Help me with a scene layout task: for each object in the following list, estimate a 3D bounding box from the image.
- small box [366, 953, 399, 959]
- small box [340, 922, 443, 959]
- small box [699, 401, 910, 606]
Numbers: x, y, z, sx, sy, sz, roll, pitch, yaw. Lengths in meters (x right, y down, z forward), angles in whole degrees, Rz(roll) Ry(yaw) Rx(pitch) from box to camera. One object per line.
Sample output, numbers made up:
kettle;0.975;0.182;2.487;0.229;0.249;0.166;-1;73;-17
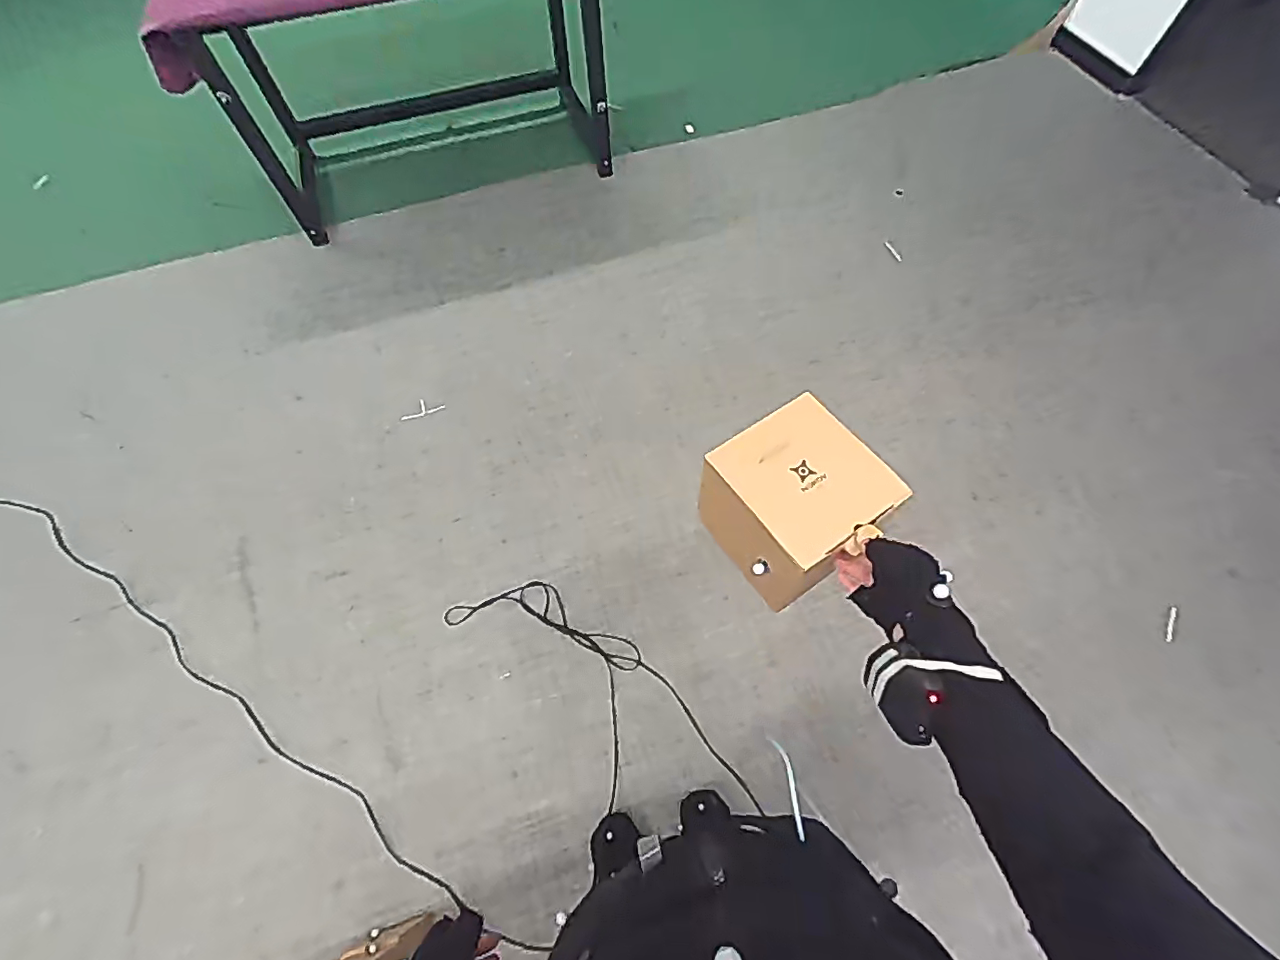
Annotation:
small box;-0.487;0.908;0.869;0.168;0.176;0.179;-16;65;-7
small box;-0.482;0.976;1.021;0.168;0.176;0.179;-21;63;-6
small box;0.191;0.040;0.686;0.168;0.176;0.179;-31;64;-14
